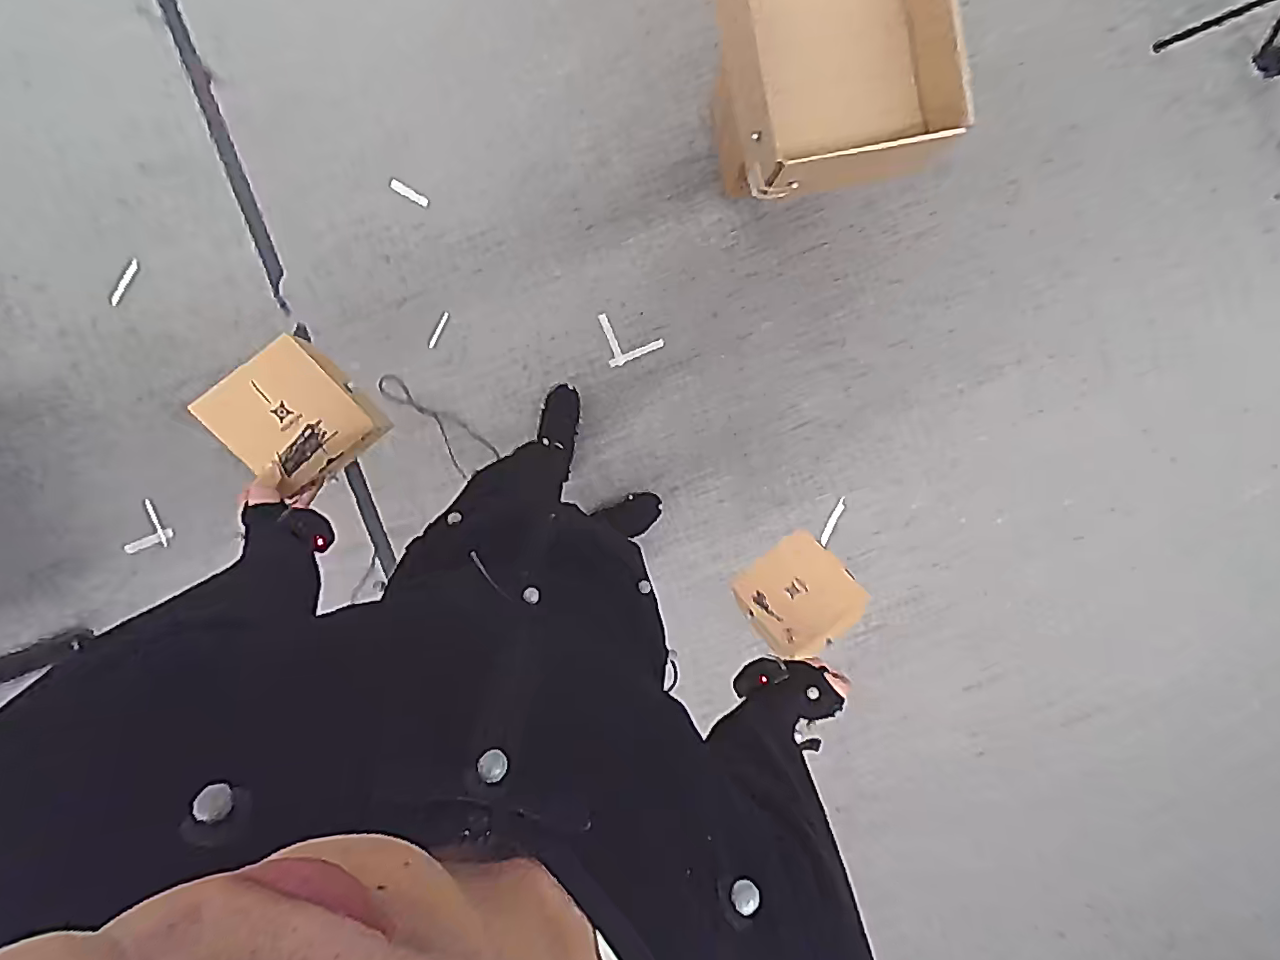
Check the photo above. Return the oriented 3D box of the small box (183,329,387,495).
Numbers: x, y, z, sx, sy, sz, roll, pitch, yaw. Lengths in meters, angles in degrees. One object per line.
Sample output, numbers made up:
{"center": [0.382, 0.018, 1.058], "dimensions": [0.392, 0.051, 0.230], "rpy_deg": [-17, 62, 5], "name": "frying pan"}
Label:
{"center": [-0.521, -0.102, 0.830], "dimensions": [0.168, 0.176, 0.179], "rpy_deg": [-43, 105, -9], "name": "small box"}
